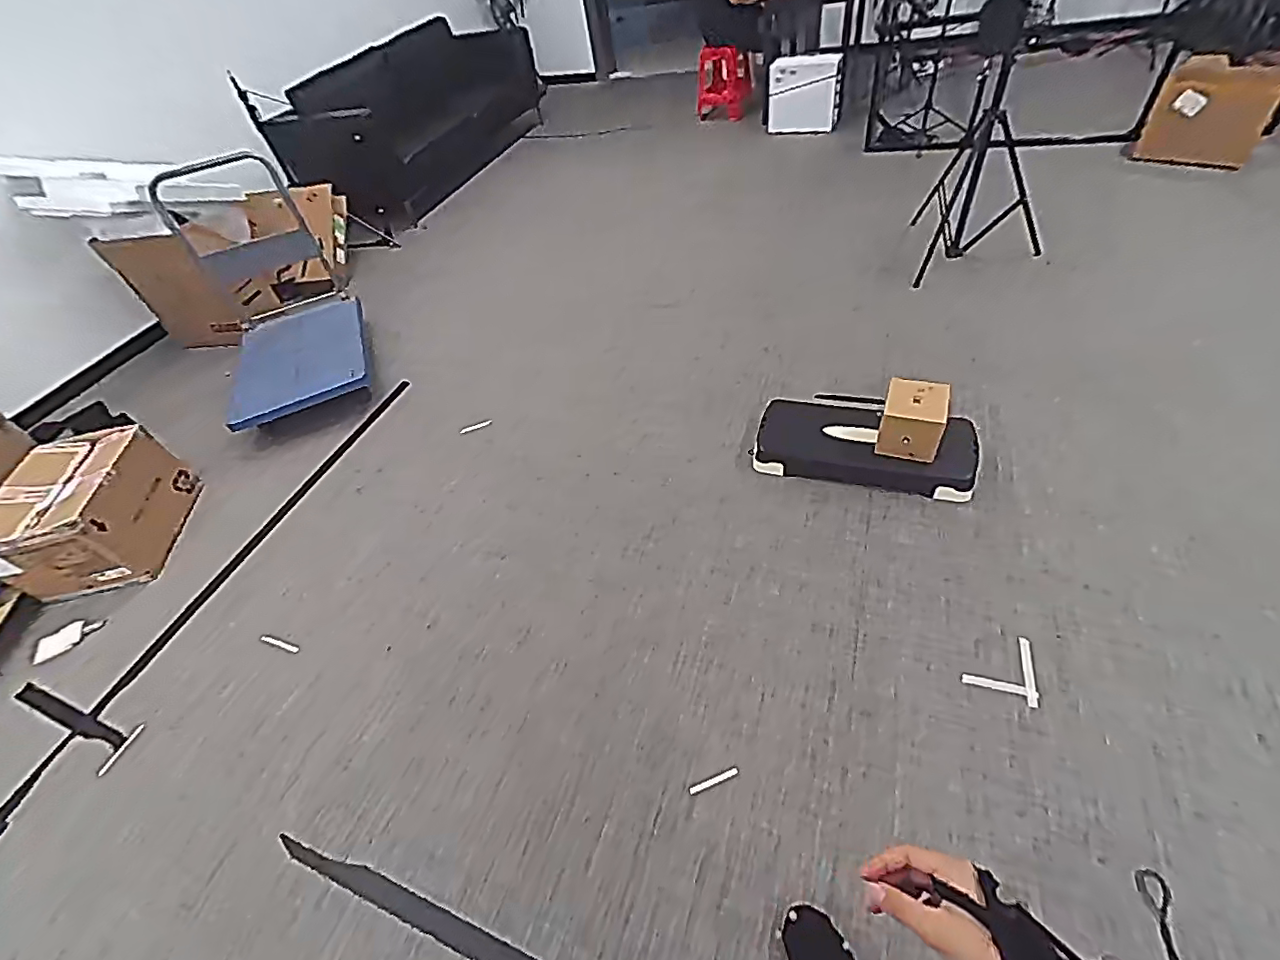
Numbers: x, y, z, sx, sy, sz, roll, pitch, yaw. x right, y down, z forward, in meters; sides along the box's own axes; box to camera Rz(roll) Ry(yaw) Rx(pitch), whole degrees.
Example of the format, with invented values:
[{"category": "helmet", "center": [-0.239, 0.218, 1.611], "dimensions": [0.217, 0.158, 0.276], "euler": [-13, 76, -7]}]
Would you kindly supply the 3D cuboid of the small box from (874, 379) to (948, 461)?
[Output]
[{"category": "small box", "center": [0.821, -0.181, 1.647], "dimensions": [0.168, 0.176, 0.179], "euler": [13, 52, 22]}]
